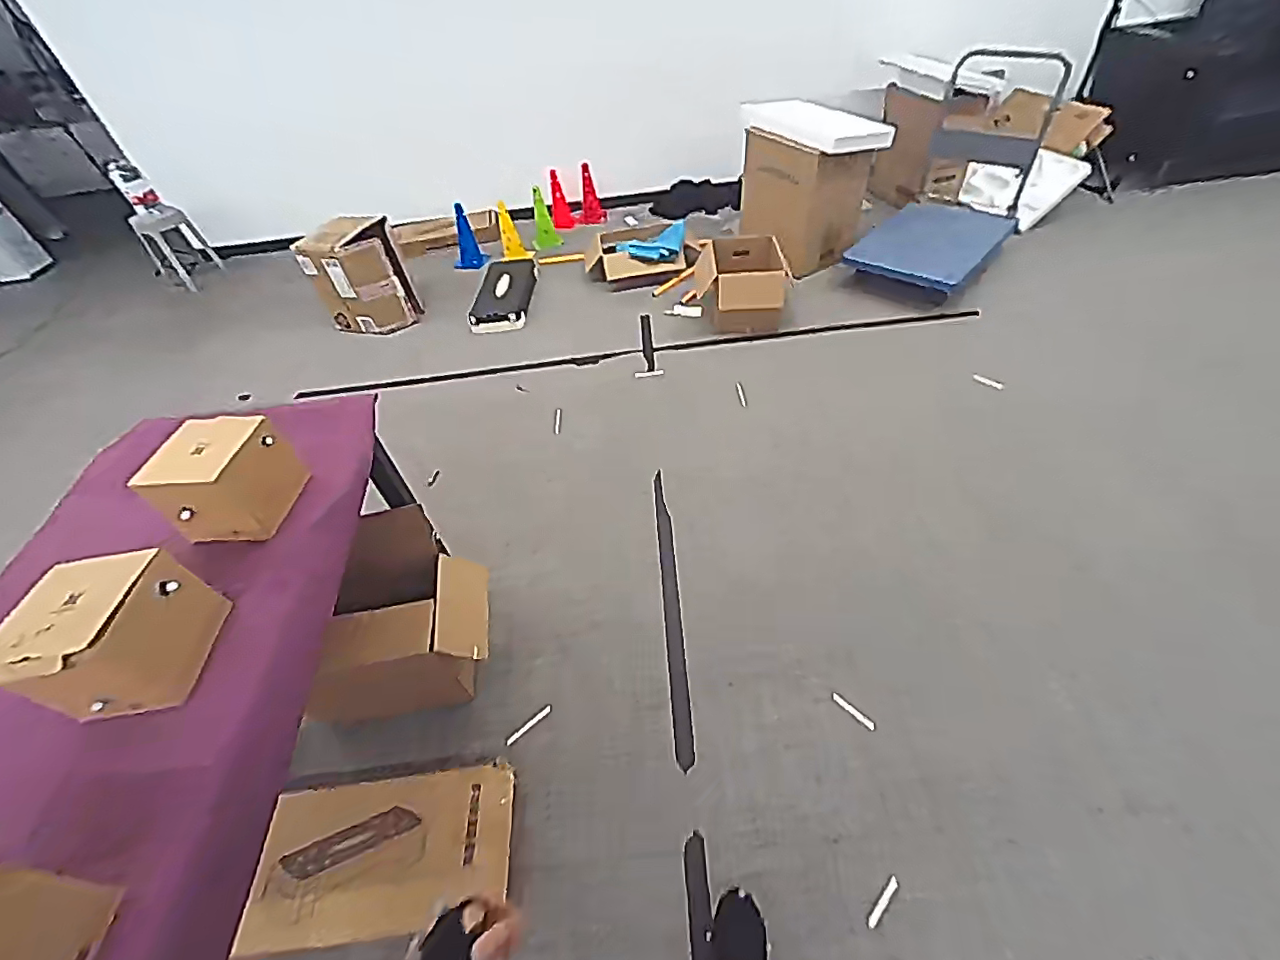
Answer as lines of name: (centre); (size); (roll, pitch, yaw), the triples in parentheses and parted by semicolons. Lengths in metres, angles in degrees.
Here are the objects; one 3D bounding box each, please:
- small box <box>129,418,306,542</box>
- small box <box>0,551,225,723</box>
small box: (-0.781, 0.006, 1.027); (0.168, 0.176, 0.179); (-3, 46, 5)
small box: (-0.774, 0.234, 0.805); (0.168, 0.176, 0.179); (-10, 46, 2)
